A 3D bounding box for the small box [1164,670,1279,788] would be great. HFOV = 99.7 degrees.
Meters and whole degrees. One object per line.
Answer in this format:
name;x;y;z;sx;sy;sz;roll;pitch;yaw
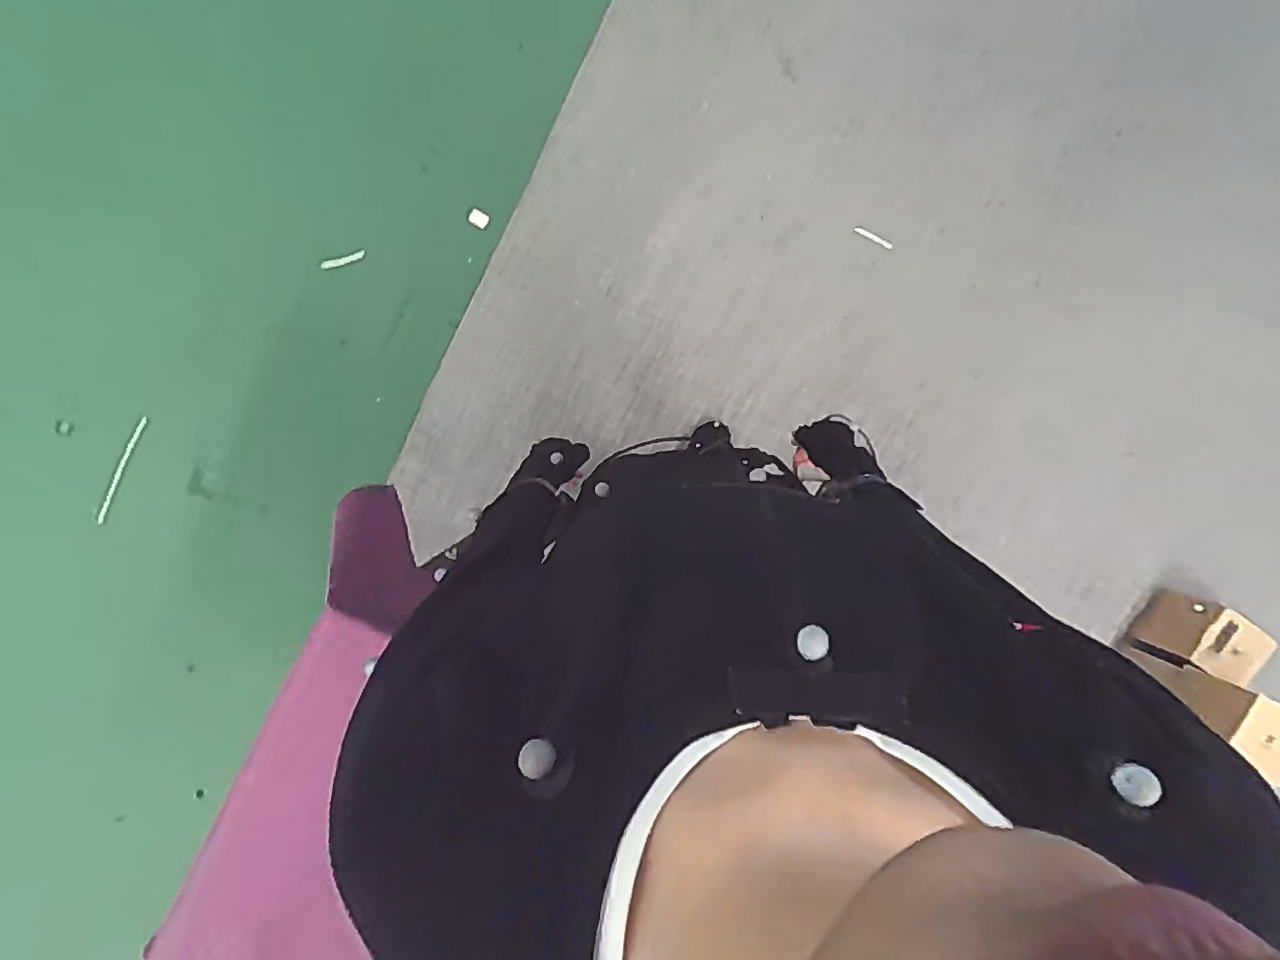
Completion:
small box;1.417;0.582;1.279;0.168;0.176;0.179;26;94;-2
